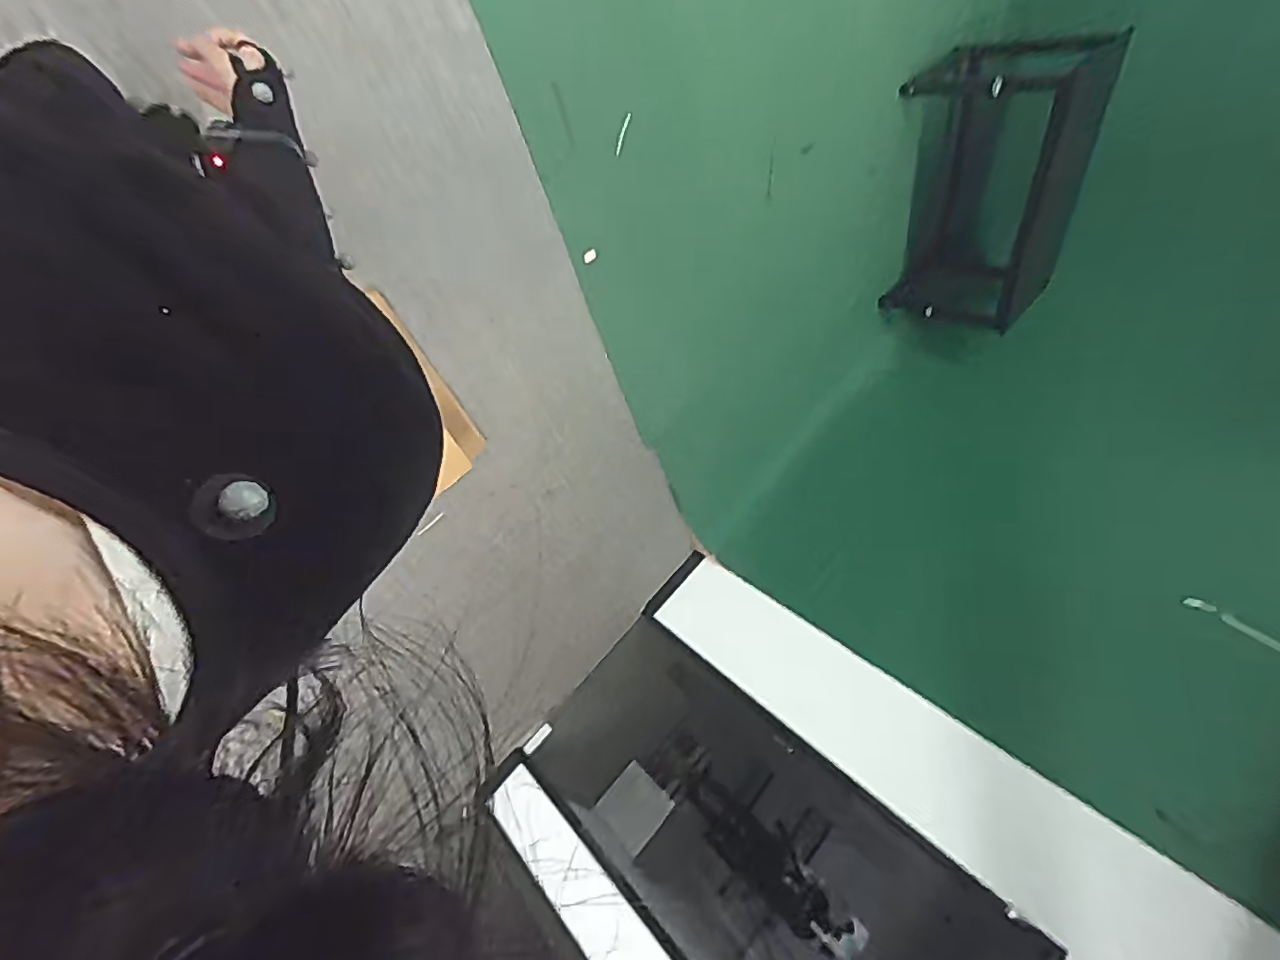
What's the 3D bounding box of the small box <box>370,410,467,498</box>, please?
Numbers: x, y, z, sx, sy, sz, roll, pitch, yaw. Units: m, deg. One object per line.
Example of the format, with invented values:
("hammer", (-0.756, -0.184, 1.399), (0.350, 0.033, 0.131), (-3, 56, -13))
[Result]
("small box", (-0.646, -0.084, 1.572), (0.168, 0.176, 0.179), (-43, 141, -19))
